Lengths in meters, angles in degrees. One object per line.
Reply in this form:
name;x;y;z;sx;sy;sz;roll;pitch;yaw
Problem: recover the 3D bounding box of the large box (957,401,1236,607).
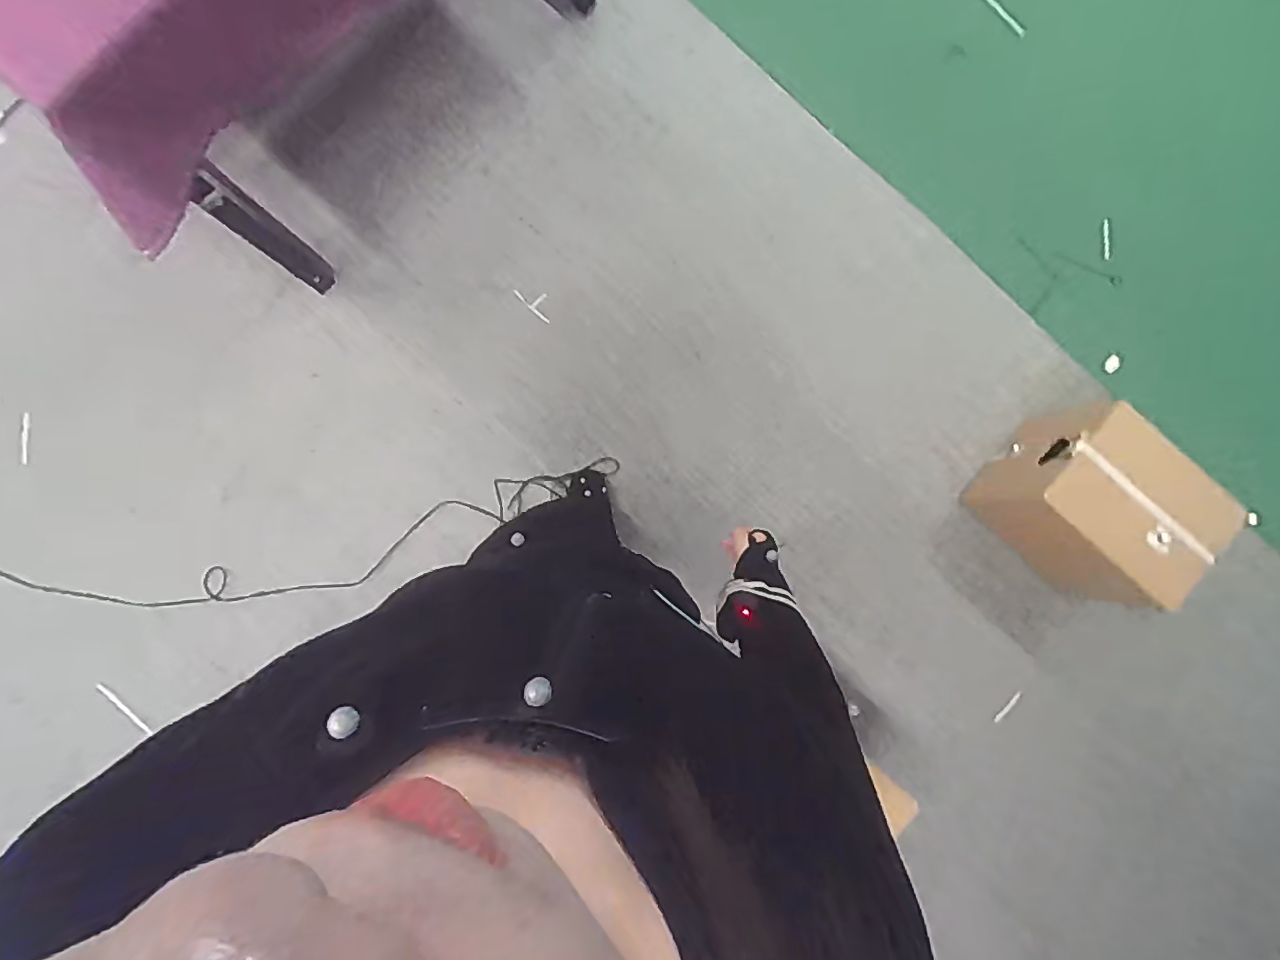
large box;1.152;0.061;1.408;0.408;0.320;0.320;43;86;-1
